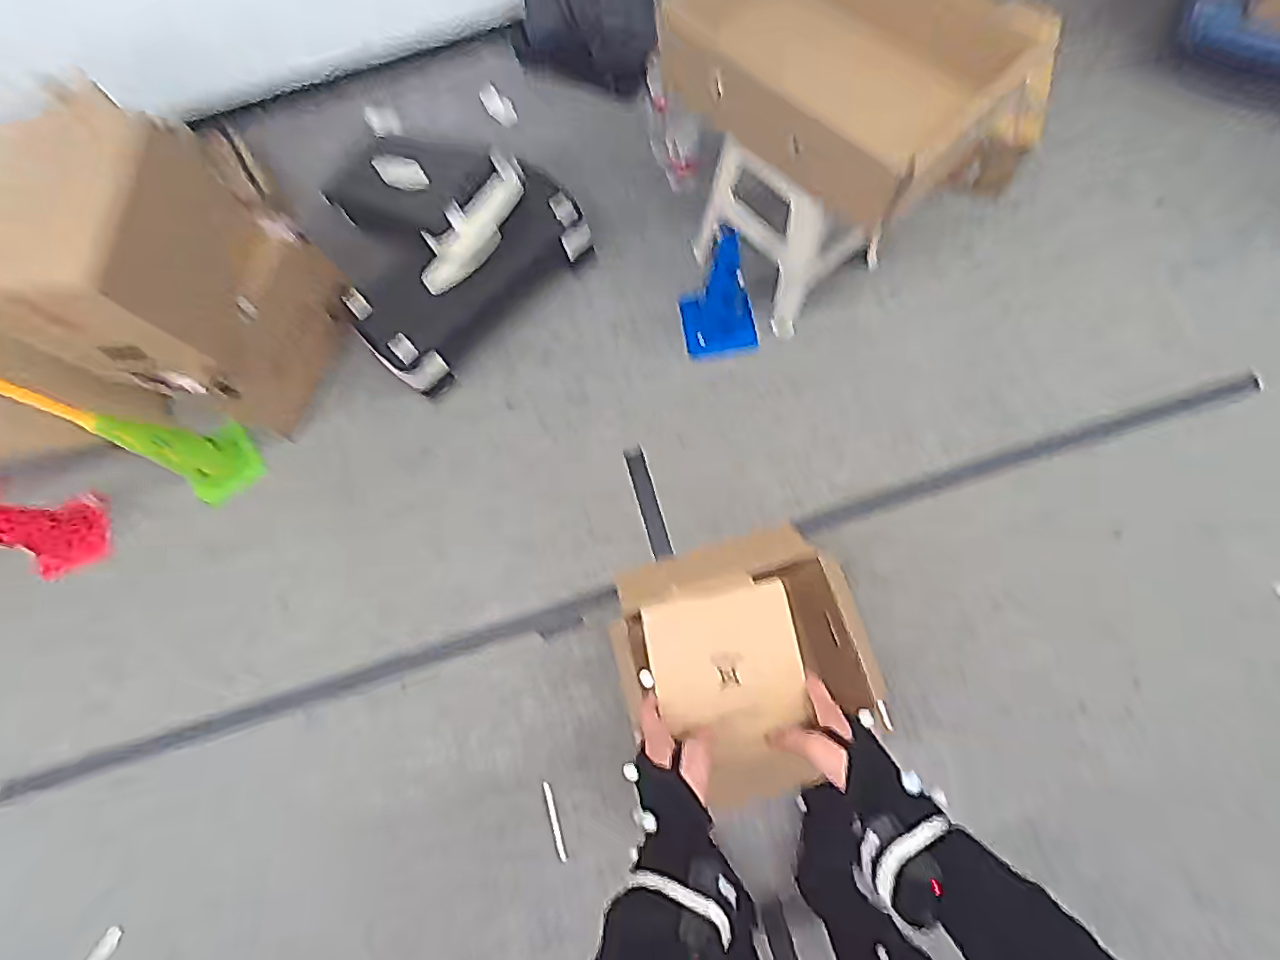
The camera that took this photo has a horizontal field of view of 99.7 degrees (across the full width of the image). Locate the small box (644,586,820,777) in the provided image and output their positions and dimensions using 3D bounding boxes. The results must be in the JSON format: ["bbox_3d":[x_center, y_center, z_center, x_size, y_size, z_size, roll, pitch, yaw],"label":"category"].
[{"bbox_3d":[0.096,0.235,0.661,0.168,0.176,0.179,-9,75,-1],"label":"small box"}]
